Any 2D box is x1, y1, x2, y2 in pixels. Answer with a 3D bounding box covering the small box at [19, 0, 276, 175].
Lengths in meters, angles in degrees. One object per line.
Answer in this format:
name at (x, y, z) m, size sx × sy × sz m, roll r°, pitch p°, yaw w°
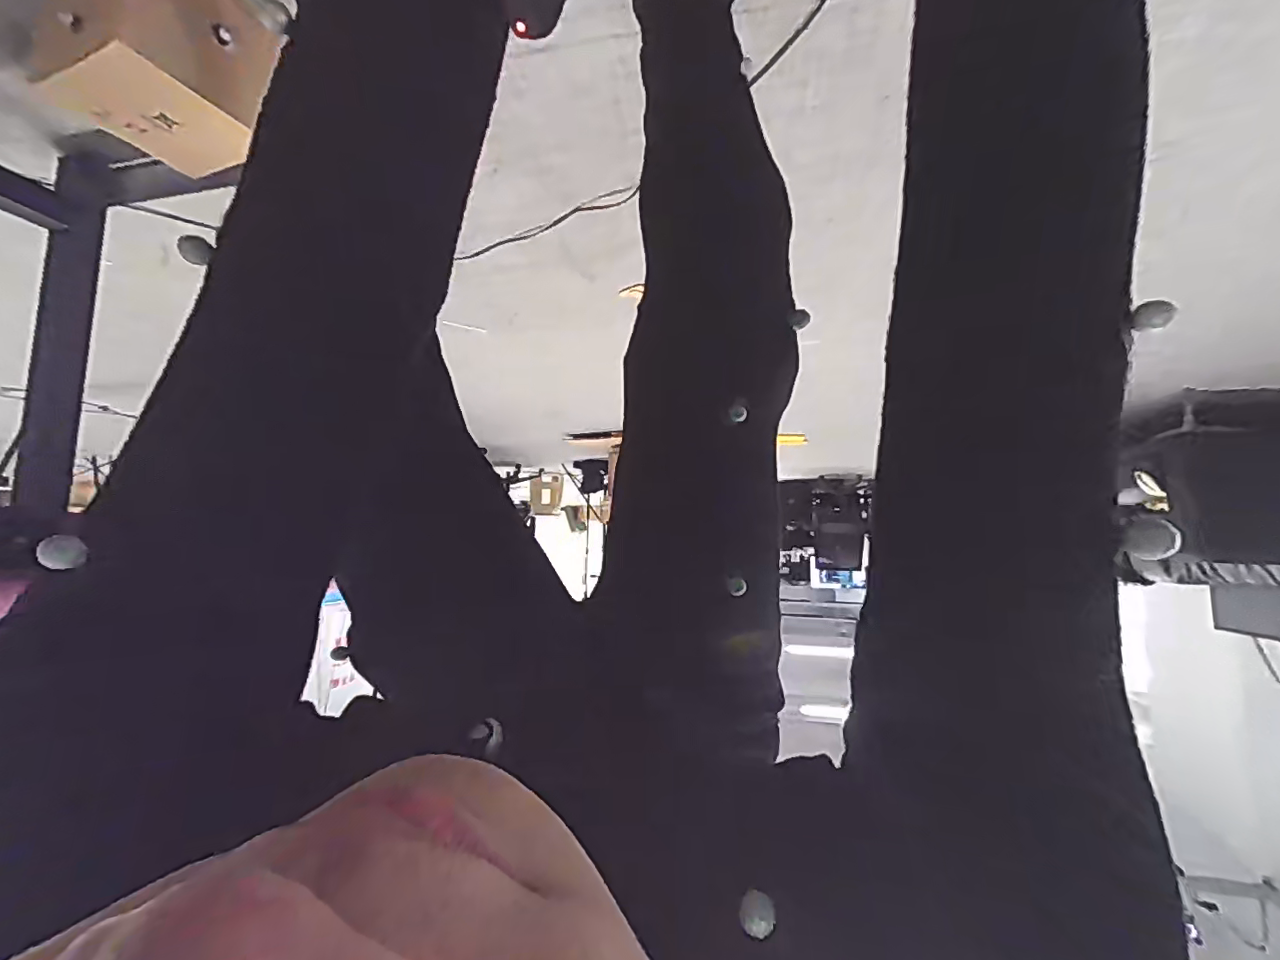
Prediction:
small box at (-0.562, -0.502, 0.633) m, size 0.179 × 0.176 × 0.168 m, roll -1°, pitch 174°, yaw 21°
